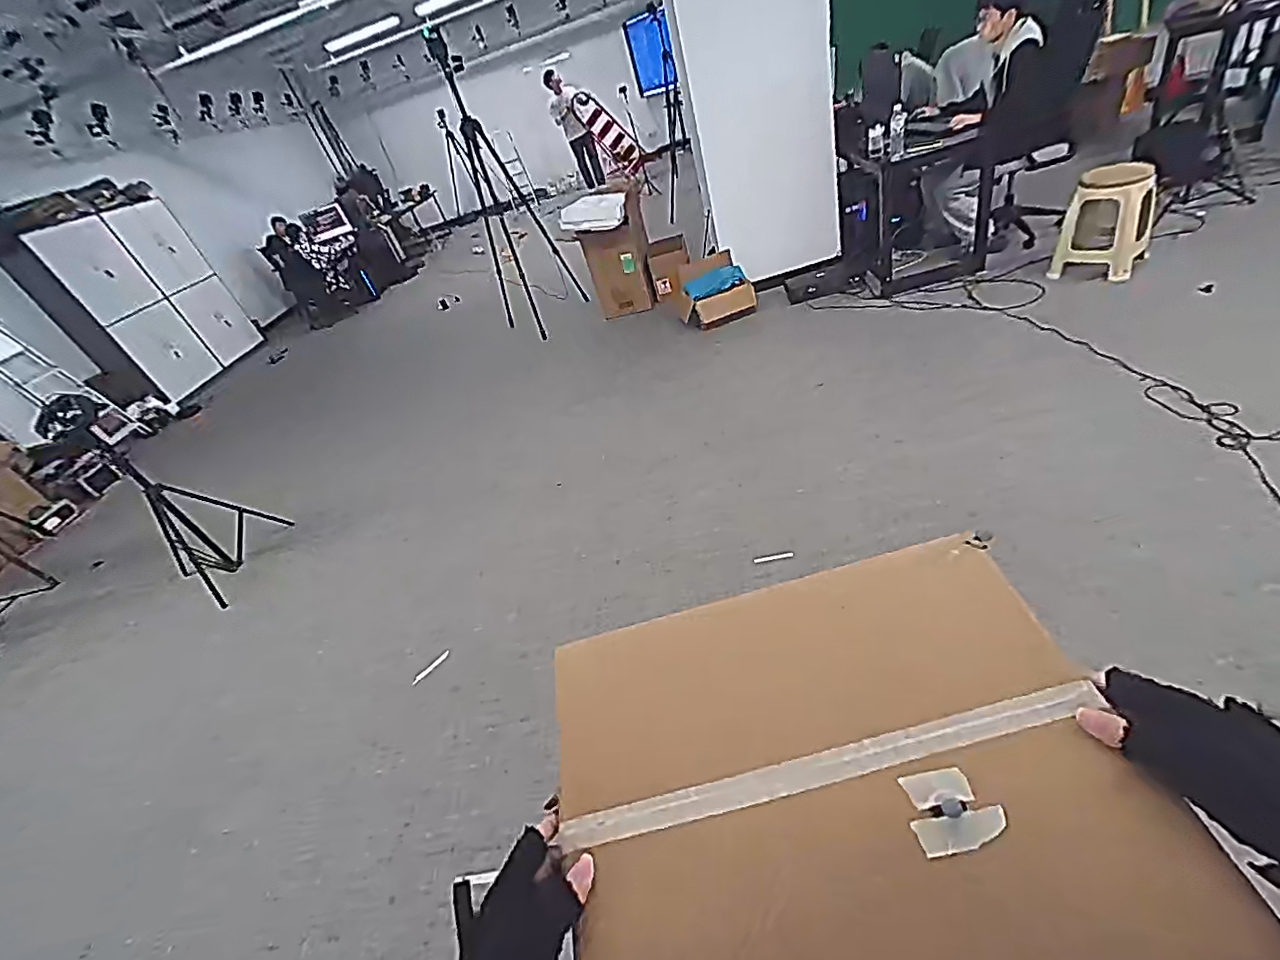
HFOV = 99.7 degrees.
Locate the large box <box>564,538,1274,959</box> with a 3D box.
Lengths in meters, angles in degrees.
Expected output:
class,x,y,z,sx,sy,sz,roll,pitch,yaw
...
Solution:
class,x,y,z,sx,sy,sz,roll,pitch,yaw
large box,0.175,0.316,0.519,0.408,0.320,0.320,-17,46,2
